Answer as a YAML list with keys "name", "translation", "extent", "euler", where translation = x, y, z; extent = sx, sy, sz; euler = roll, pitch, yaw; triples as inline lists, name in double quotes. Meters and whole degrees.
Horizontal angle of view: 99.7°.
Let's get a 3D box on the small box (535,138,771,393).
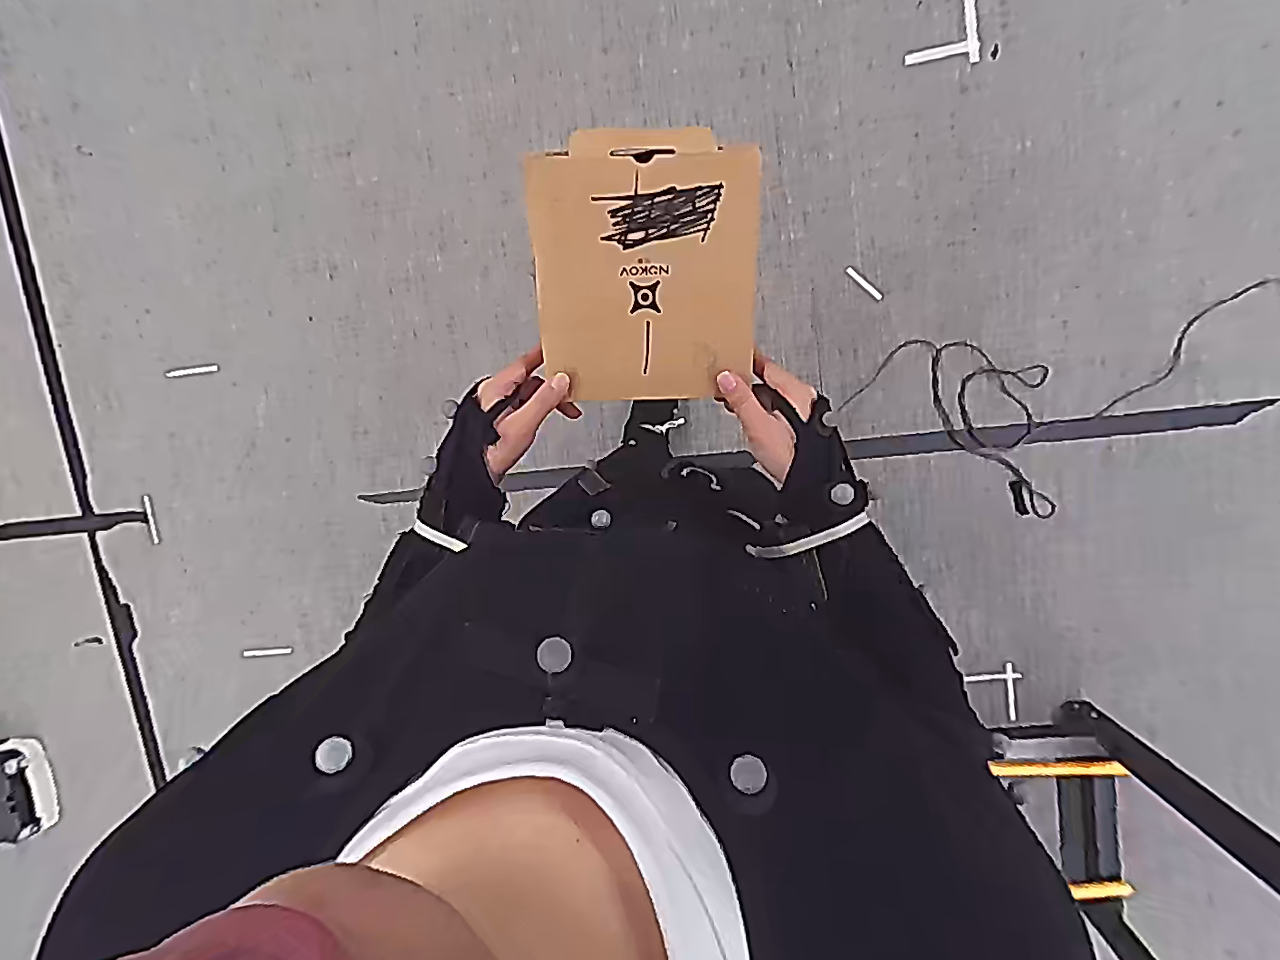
- name: "small box"
  translation: [0.009, -0.178, 0.472]
  extent: [0.168, 0.176, 0.179]
  euler: [0, 111, 1]
